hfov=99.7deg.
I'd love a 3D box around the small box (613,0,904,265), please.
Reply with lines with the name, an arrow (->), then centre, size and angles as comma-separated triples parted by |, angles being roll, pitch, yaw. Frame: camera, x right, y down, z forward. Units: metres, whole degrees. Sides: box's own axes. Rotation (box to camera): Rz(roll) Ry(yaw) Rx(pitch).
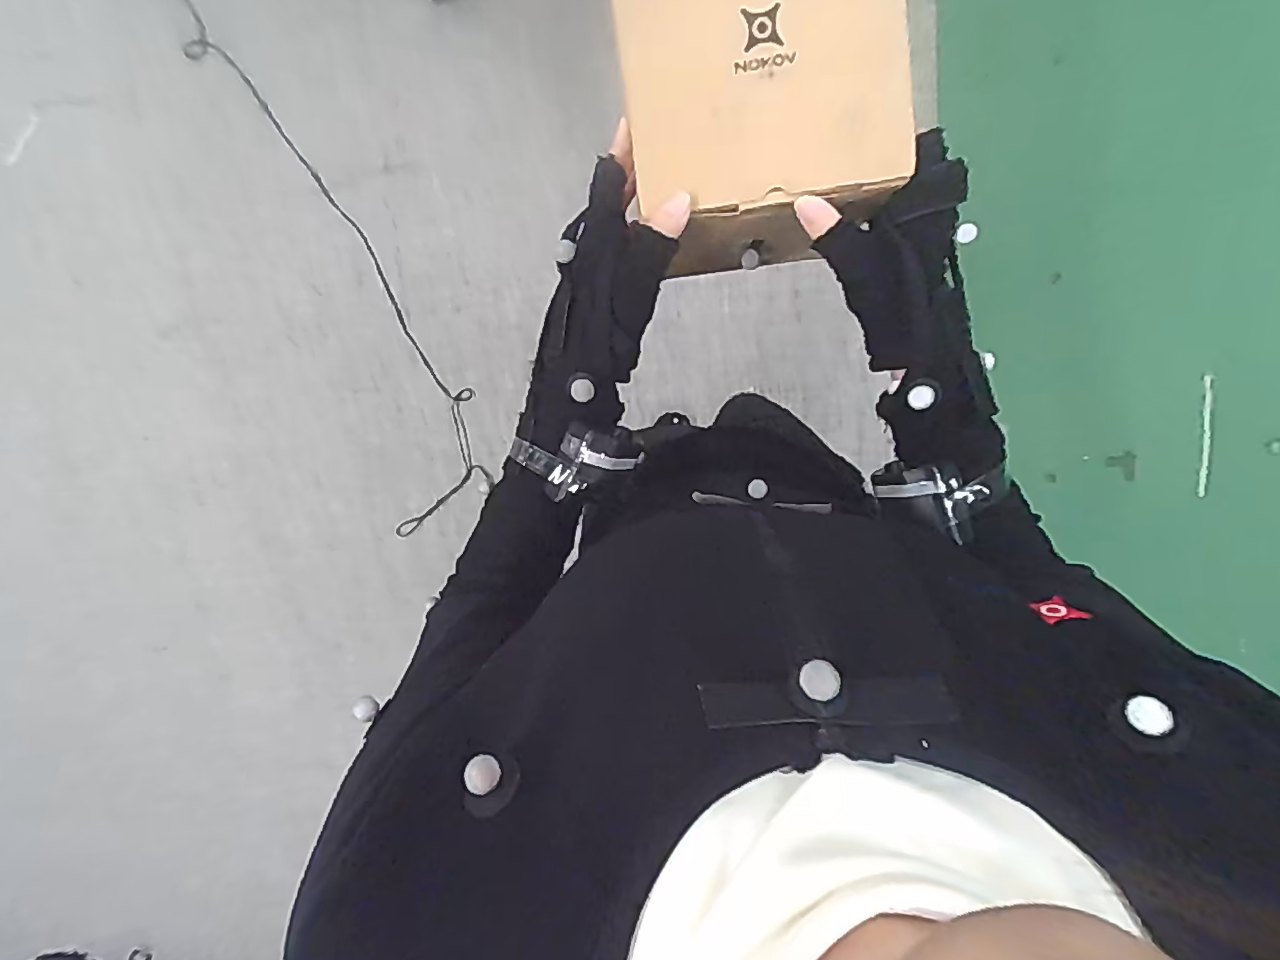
small box -> 0.074, -0.268, 0.397 | 0.168, 0.176, 0.179 | -7, 100, 3
